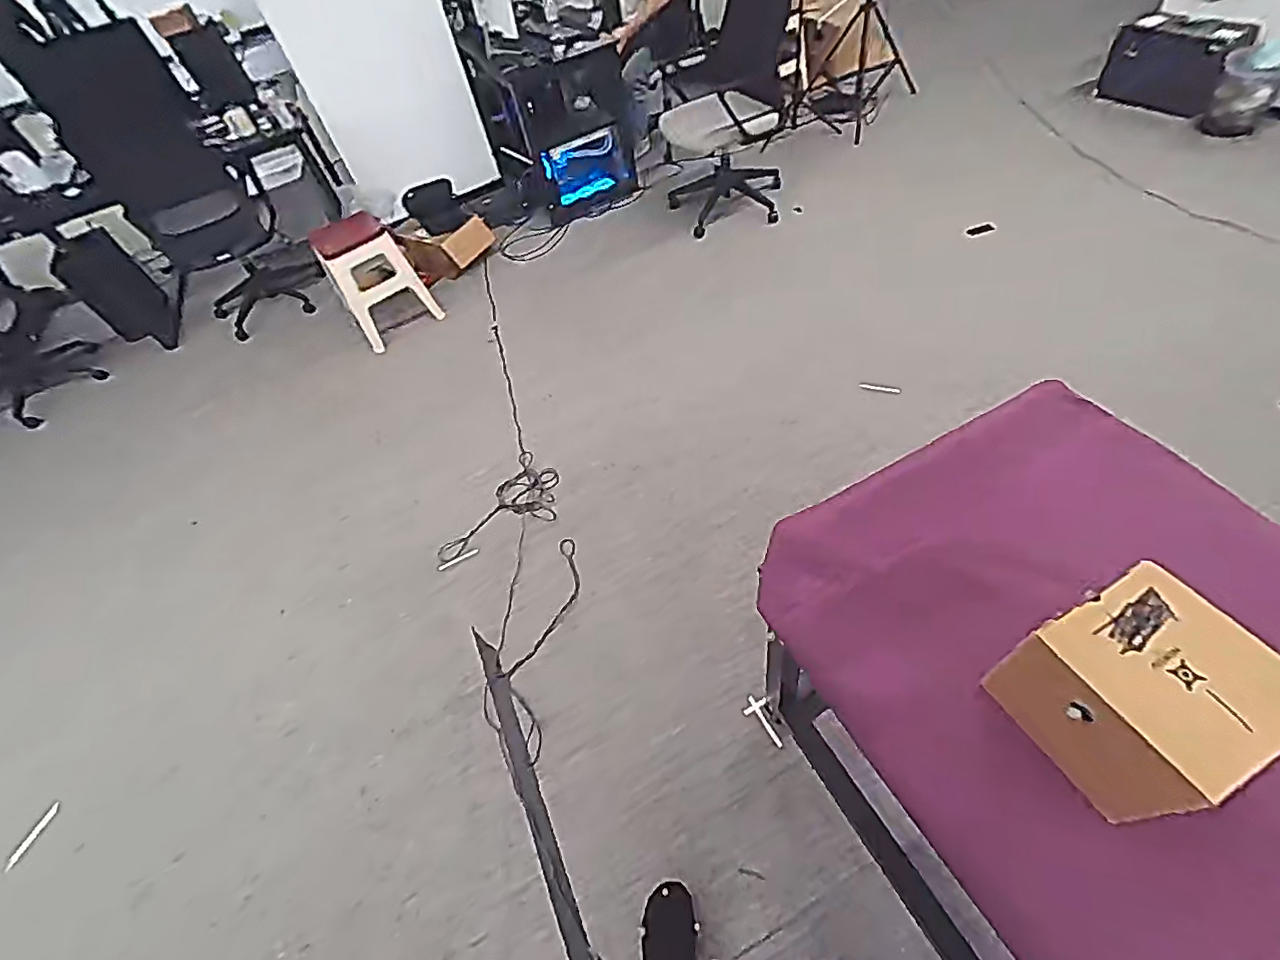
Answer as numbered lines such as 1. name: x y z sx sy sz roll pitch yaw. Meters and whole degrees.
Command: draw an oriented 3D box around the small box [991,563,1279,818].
1. small box: 0.528 0.228 0.581 0.168 0.176 0.179 -27 53 -9
